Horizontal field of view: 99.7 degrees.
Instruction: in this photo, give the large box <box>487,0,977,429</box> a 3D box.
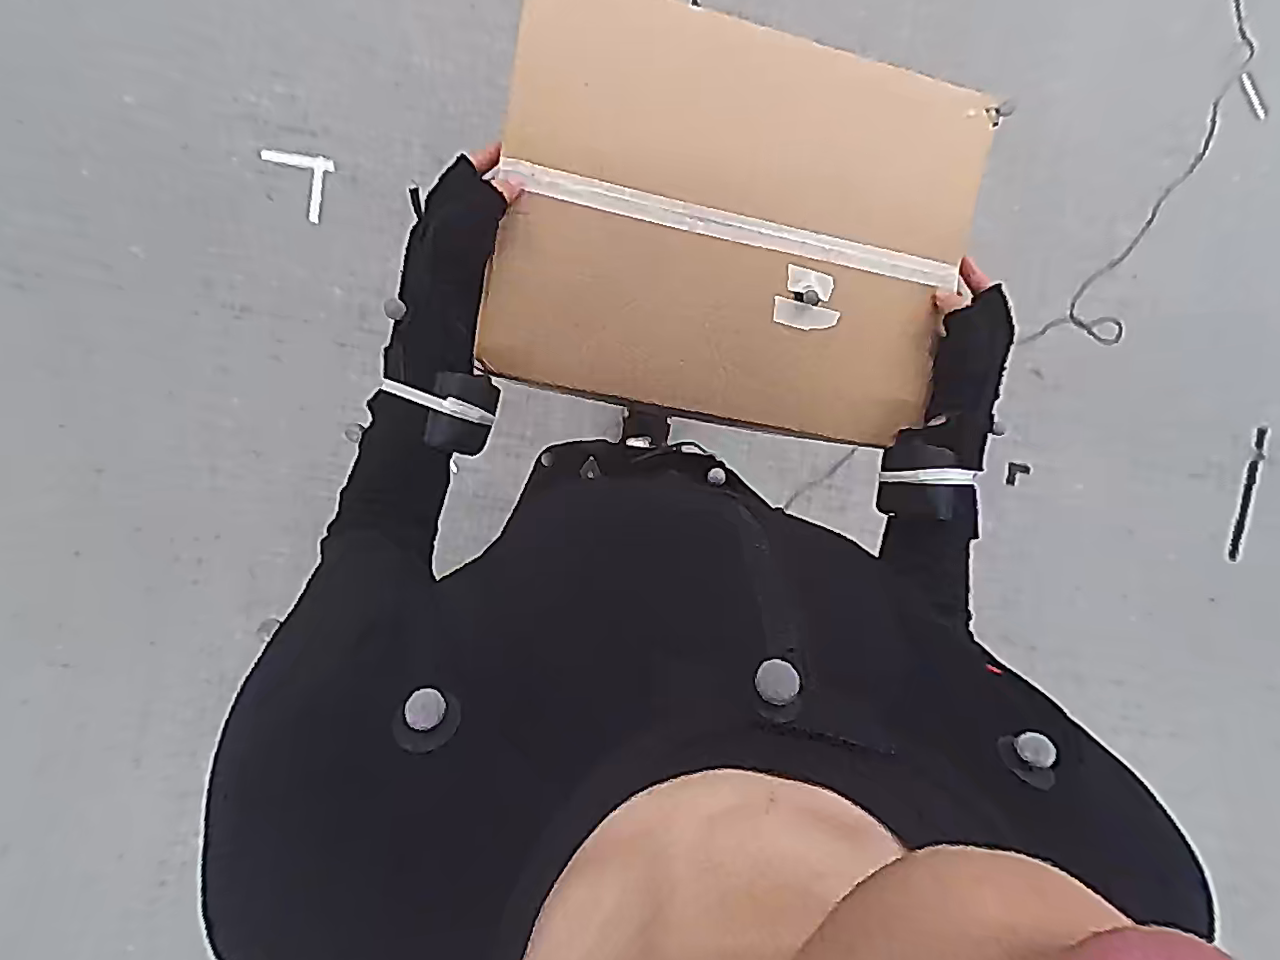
[{"bbox_3d":[0.064,-0.244,0.614,0.408,0.320,0.320,9,98,-9],"label":"large box"}]
